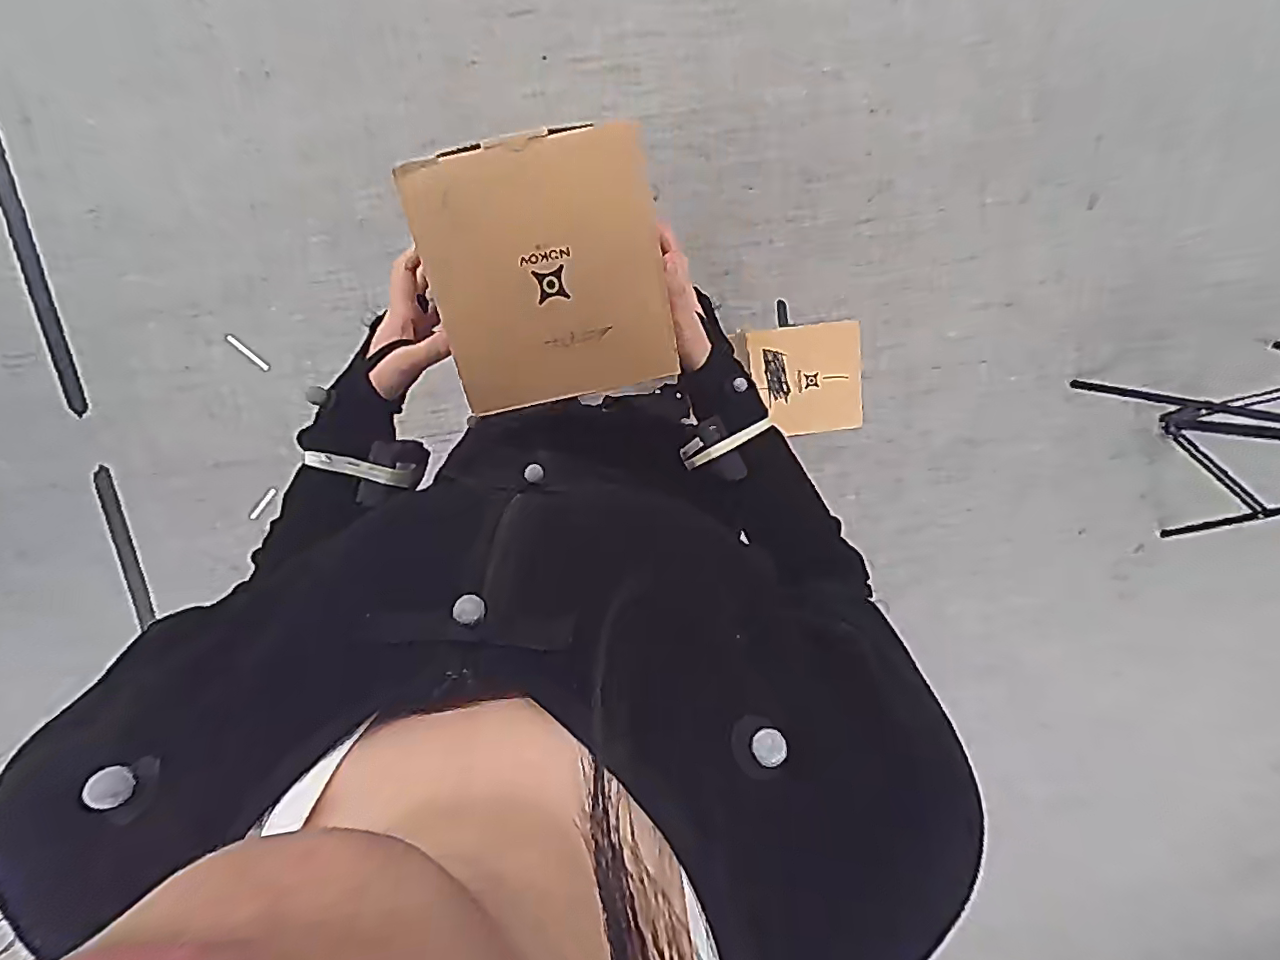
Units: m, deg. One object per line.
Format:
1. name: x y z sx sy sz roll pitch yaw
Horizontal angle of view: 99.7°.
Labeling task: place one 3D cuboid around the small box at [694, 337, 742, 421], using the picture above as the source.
1. small box: 0.218 -0.229 1.227 0.168 0.176 0.179 -5 102 -2

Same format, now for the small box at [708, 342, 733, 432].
1. small box: 0.233 -0.188 1.069 0.179 0.176 0.168 -6 102 -2

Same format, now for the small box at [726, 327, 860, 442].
1. small box: 0.246 -0.159 0.908 0.179 0.176 0.168 -7 101 -4

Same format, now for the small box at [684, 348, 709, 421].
1. small box: 0.211 -0.256 1.389 0.168 0.176 0.179 -7 102 -2

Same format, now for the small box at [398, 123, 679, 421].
1. small box: -0.072 -0.168 0.453 0.168 0.176 0.179 -12 114 -2
